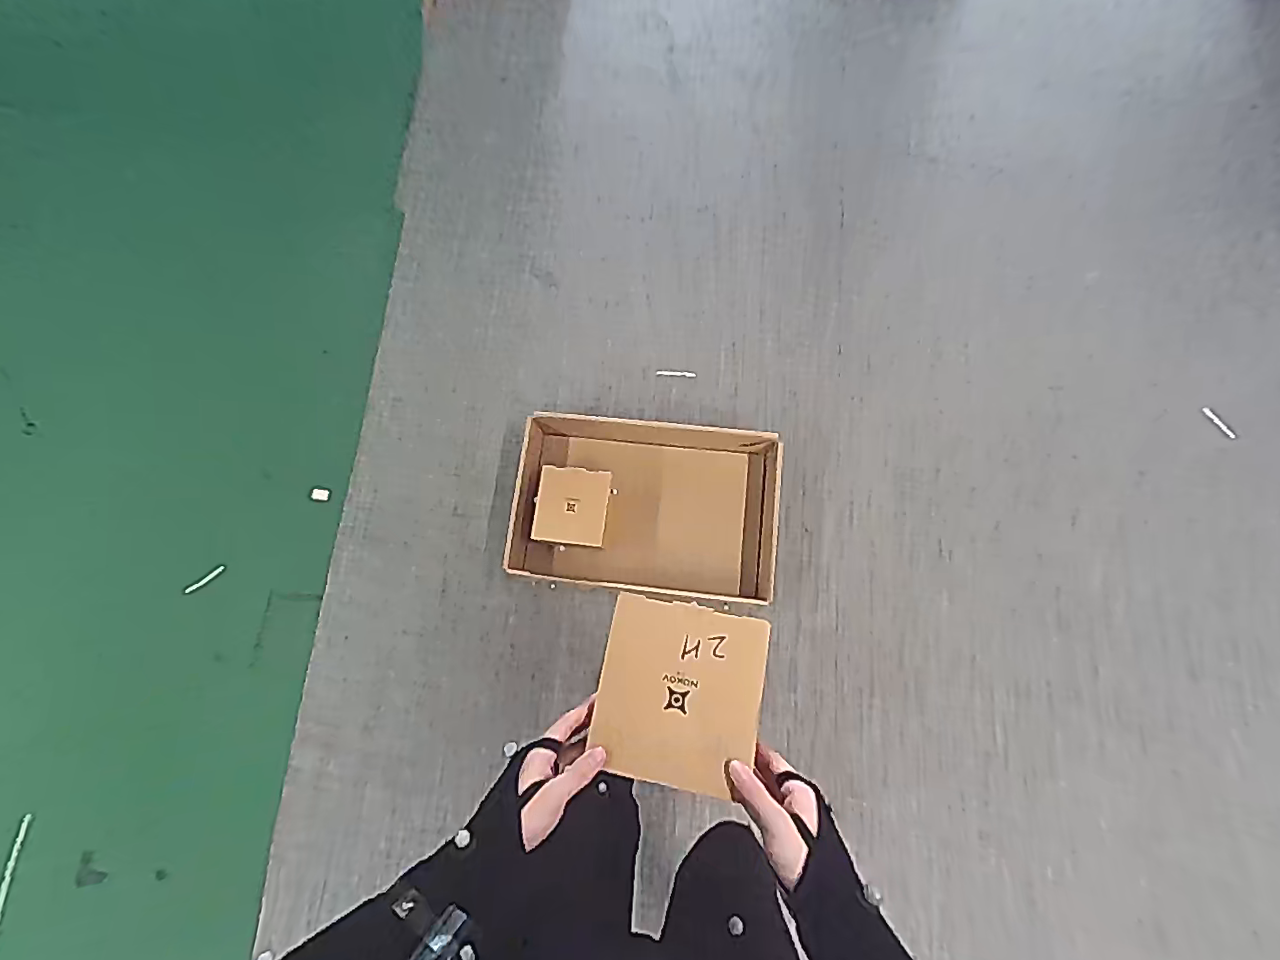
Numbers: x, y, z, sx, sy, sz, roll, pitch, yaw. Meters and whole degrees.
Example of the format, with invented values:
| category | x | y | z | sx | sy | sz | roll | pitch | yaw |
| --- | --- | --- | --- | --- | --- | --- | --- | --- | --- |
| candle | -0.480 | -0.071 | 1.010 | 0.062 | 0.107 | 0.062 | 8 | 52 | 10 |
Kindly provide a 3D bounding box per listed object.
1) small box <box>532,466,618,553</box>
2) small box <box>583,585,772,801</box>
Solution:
| category | x | y | z | sx | sy | sz | roll | pitch | yaw |
| --- | --- | --- | --- | --- | --- | --- | --- | --- | --- |
| small box | -0.149 | 0.076 | 1.305 | 0.168 | 0.176 | 0.179 | 6 | 77 | 4 |
| small box | 0.046 | 0.234 | 0.620 | 0.168 | 0.176 | 0.179 | 11 | 72 | 7 |
